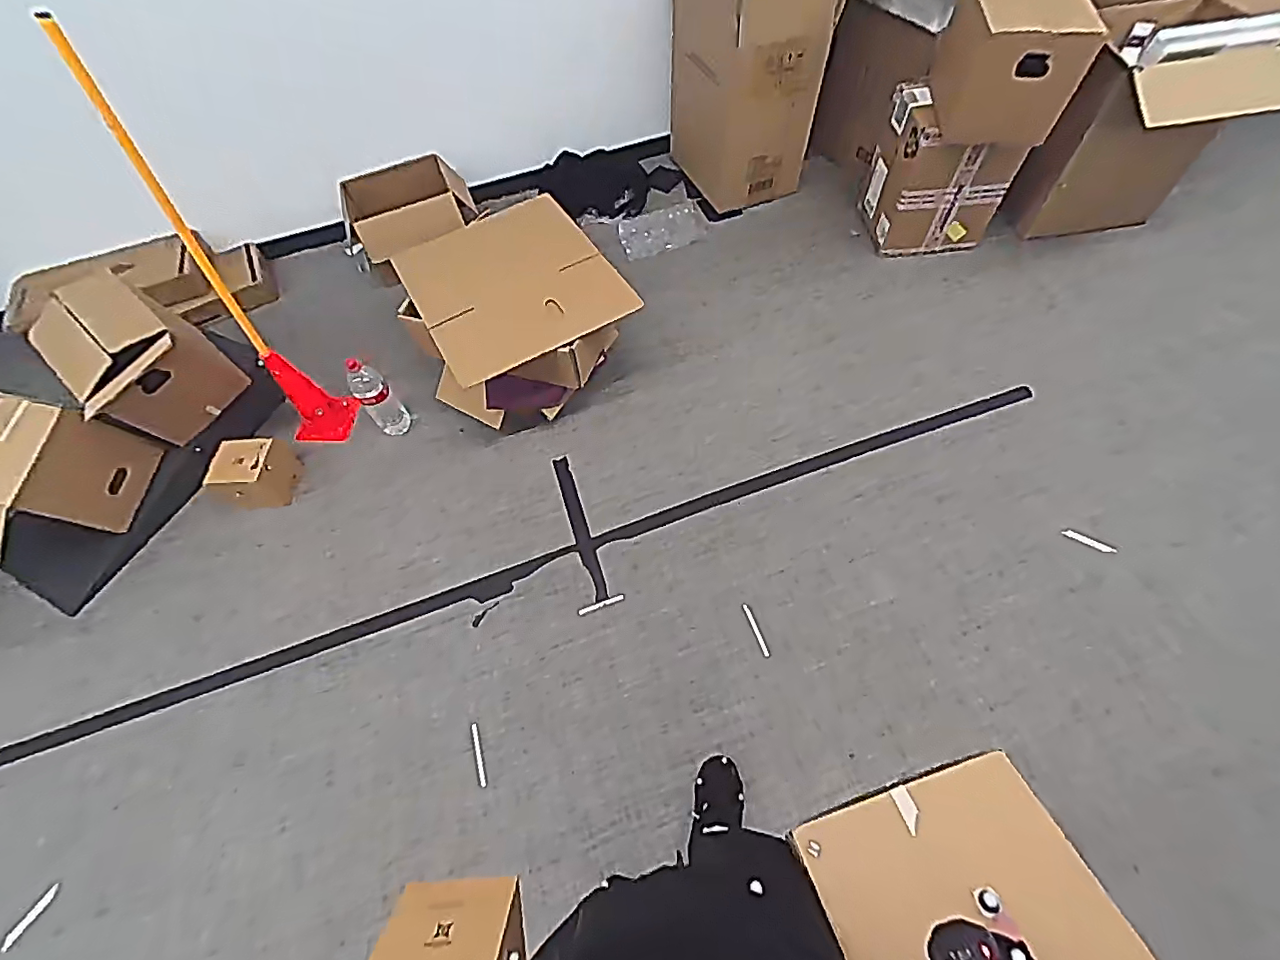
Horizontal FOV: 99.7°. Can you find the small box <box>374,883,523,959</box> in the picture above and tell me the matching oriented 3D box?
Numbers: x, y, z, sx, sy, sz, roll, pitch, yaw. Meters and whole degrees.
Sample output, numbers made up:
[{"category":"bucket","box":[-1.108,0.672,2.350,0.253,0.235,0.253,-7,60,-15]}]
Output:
[{"category":"small box","box":[-0.249,0.681,0.707,0.168,0.179,0.176,-4,93,-1]}]
